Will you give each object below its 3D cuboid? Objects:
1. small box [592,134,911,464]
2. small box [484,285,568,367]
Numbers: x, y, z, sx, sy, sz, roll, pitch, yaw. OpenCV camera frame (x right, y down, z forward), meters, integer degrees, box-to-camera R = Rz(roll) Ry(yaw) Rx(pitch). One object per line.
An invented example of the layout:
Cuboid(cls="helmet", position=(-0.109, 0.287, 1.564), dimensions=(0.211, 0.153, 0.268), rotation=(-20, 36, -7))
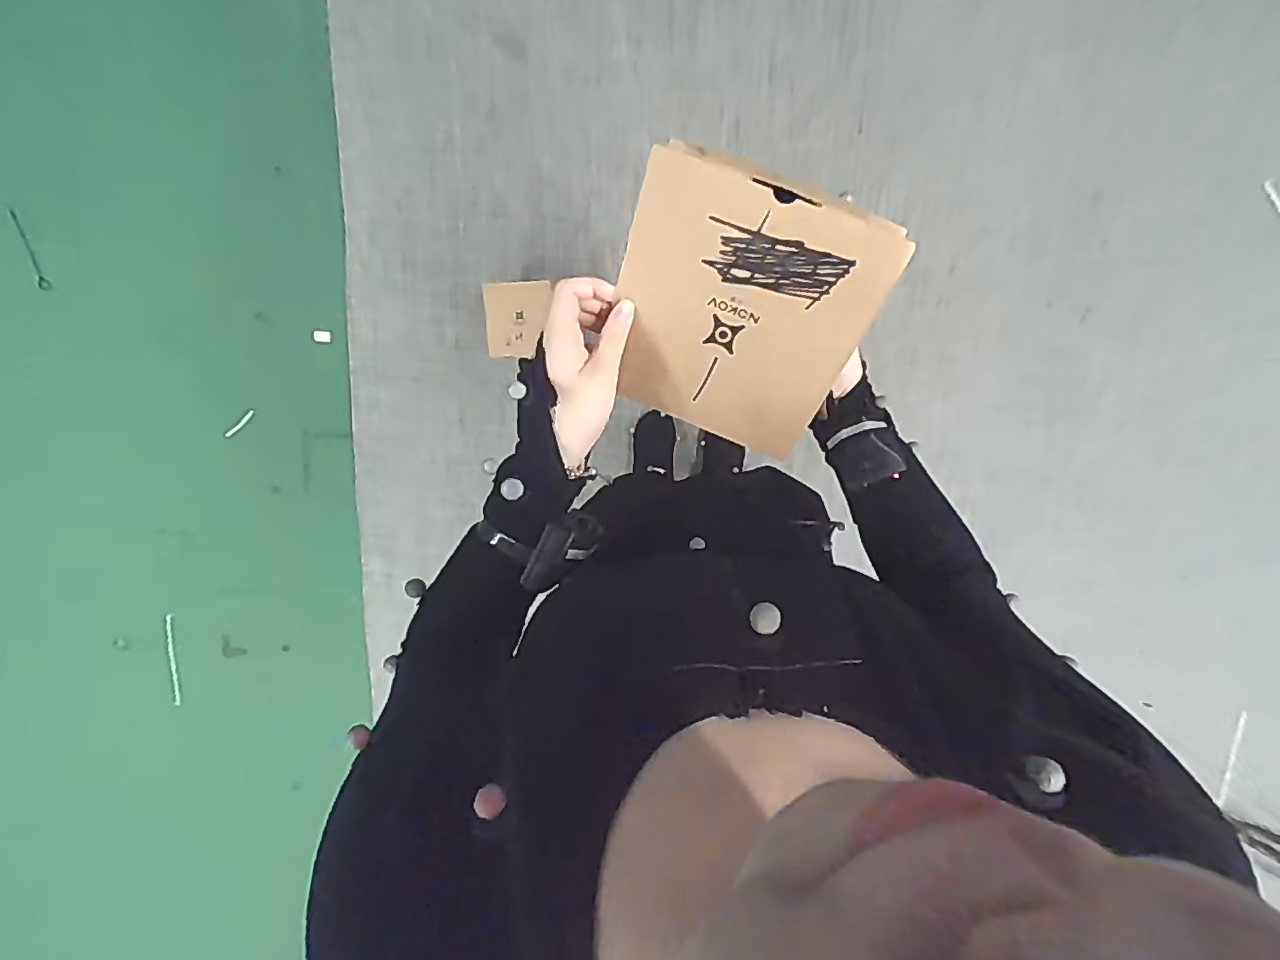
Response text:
Cuboid(cls="small box", position=(0.081, -0.147, 0.441), dimensions=(0.168, 0.176, 0.179), rotation=(23, 119, 2))
Cuboid(cls="small box", position=(-0.281, -0.381, 1.359), dimensions=(0.168, 0.176, 0.179), rotation=(-1, 99, 5))
